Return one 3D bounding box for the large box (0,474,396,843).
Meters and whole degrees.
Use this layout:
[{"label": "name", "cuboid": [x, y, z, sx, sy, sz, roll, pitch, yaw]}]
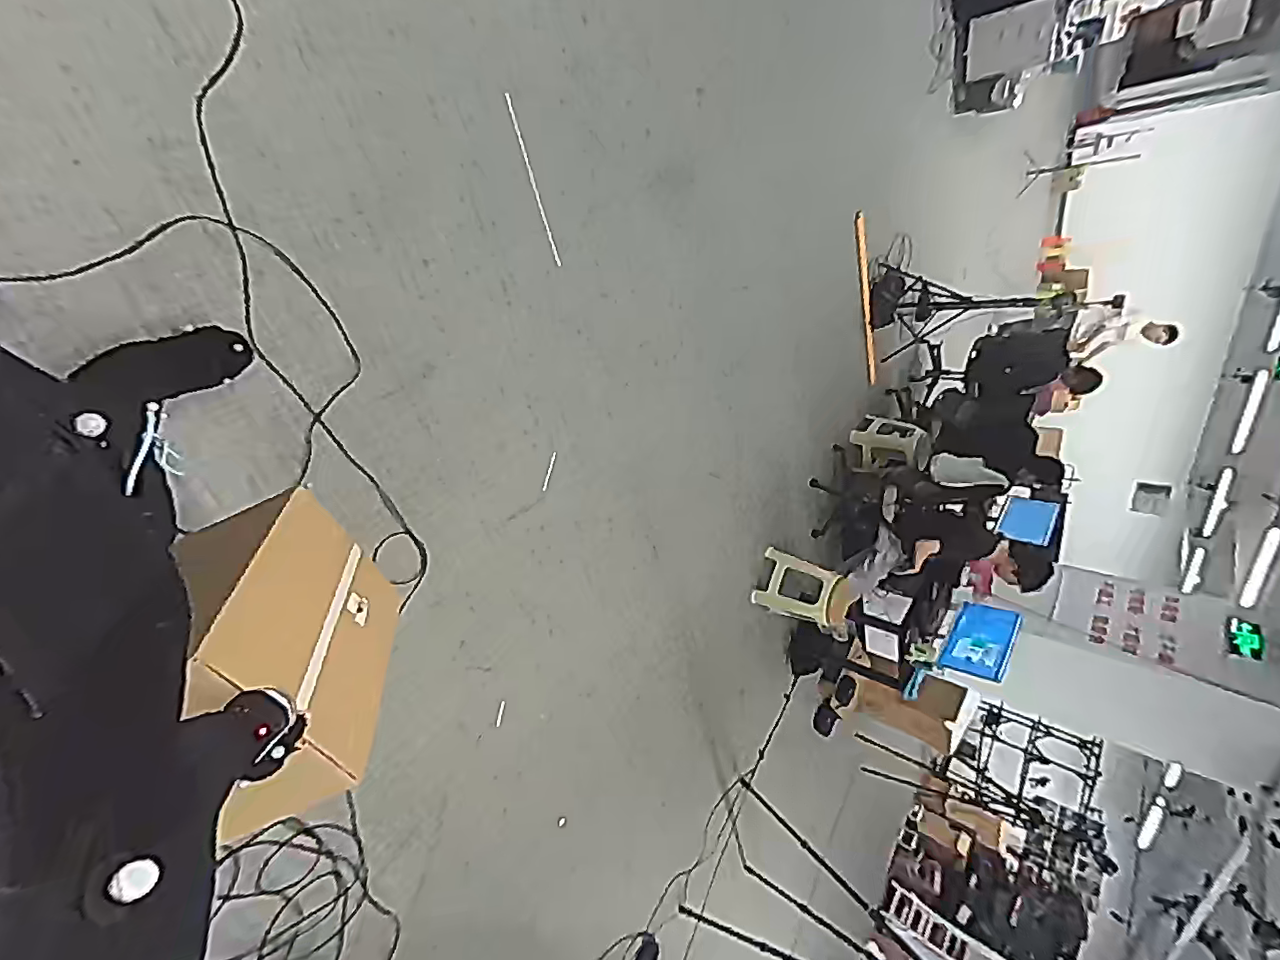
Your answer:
[{"label": "large box", "cuboid": [-0.645, 0.264, 0.872, 0.320, 0.408, 0.320, -24, 123, -2]}]
